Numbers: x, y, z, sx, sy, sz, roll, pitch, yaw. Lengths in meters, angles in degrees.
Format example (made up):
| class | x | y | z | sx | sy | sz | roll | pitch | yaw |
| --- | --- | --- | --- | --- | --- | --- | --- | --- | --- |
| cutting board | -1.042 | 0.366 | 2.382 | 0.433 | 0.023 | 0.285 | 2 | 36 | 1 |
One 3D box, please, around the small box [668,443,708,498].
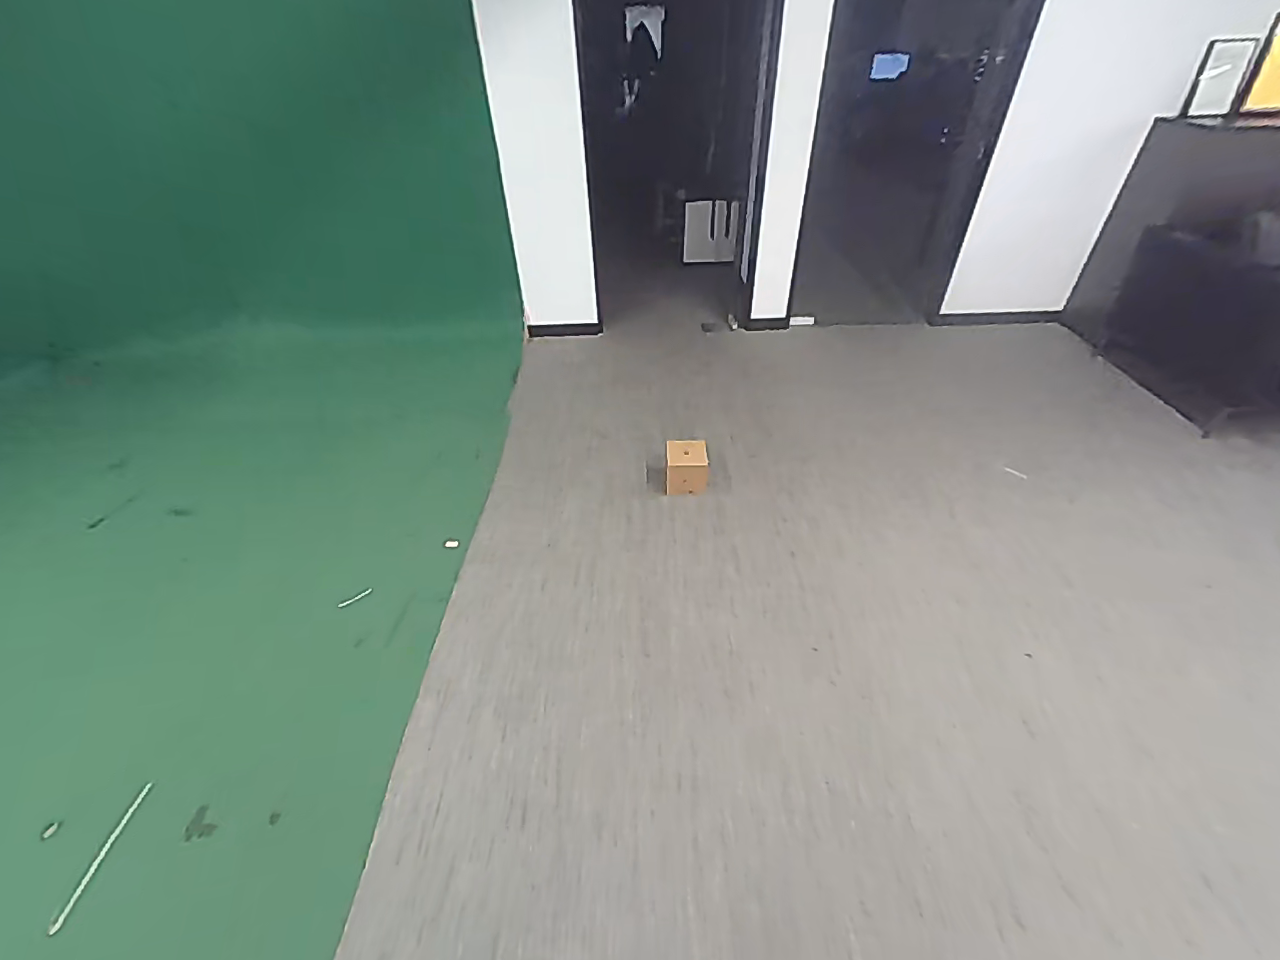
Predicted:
| class | x | y | z | sx | sy | sz | roll | pitch | yaw |
| --- | --- | --- | --- | --- | --- | --- | --- | --- | --- |
| small box | 0.202 | -0.037 | 2.291 | 0.168 | 0.176 | 0.179 | 0 | 40 | 2 |
